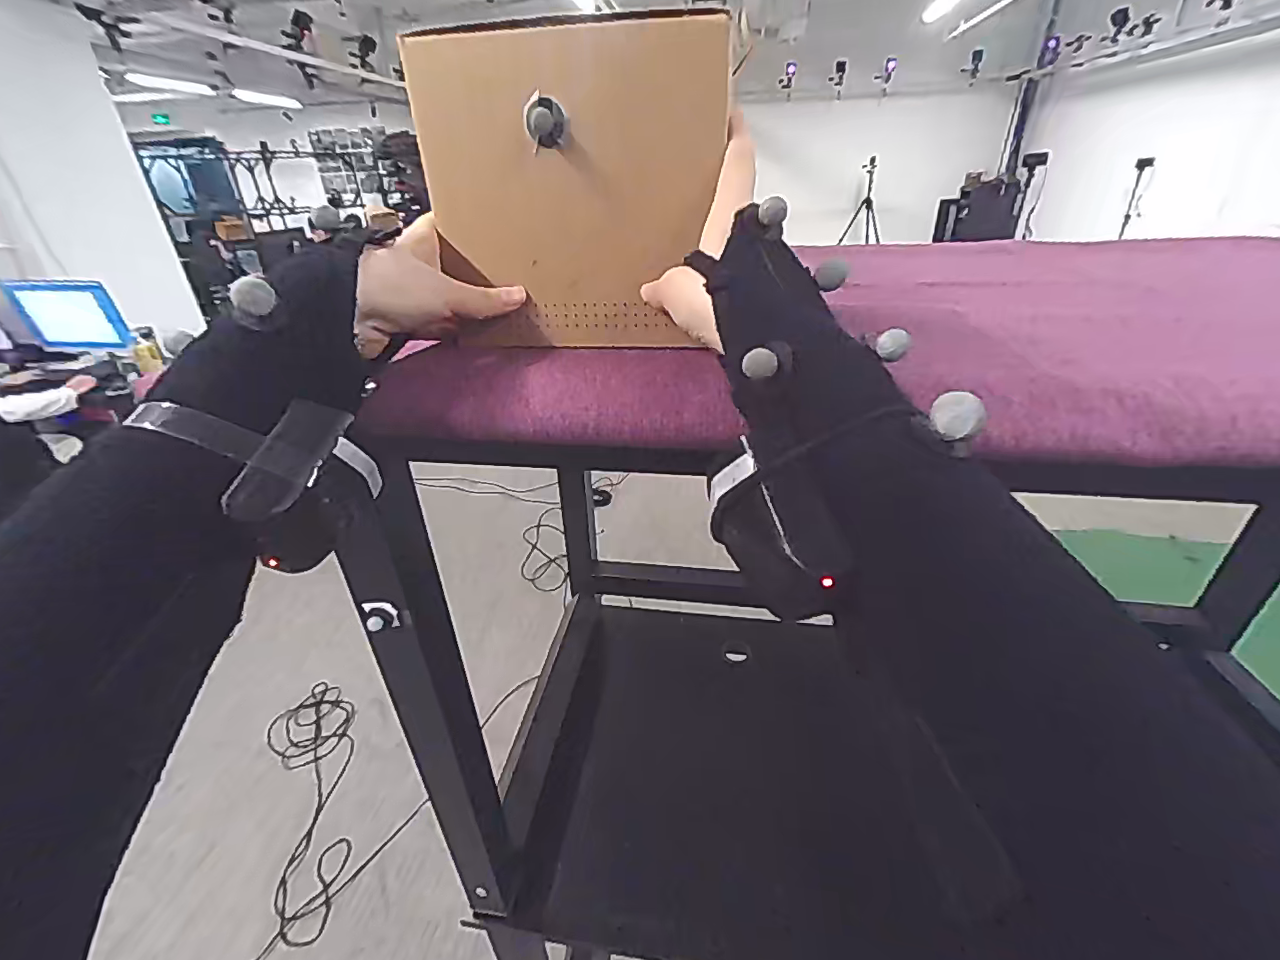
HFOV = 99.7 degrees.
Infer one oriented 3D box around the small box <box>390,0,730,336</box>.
[{"bbox_3d":[-0.030,-0.201,0.371,0.179,0.176,0.168,2,31,8],"label":"small box"}]
